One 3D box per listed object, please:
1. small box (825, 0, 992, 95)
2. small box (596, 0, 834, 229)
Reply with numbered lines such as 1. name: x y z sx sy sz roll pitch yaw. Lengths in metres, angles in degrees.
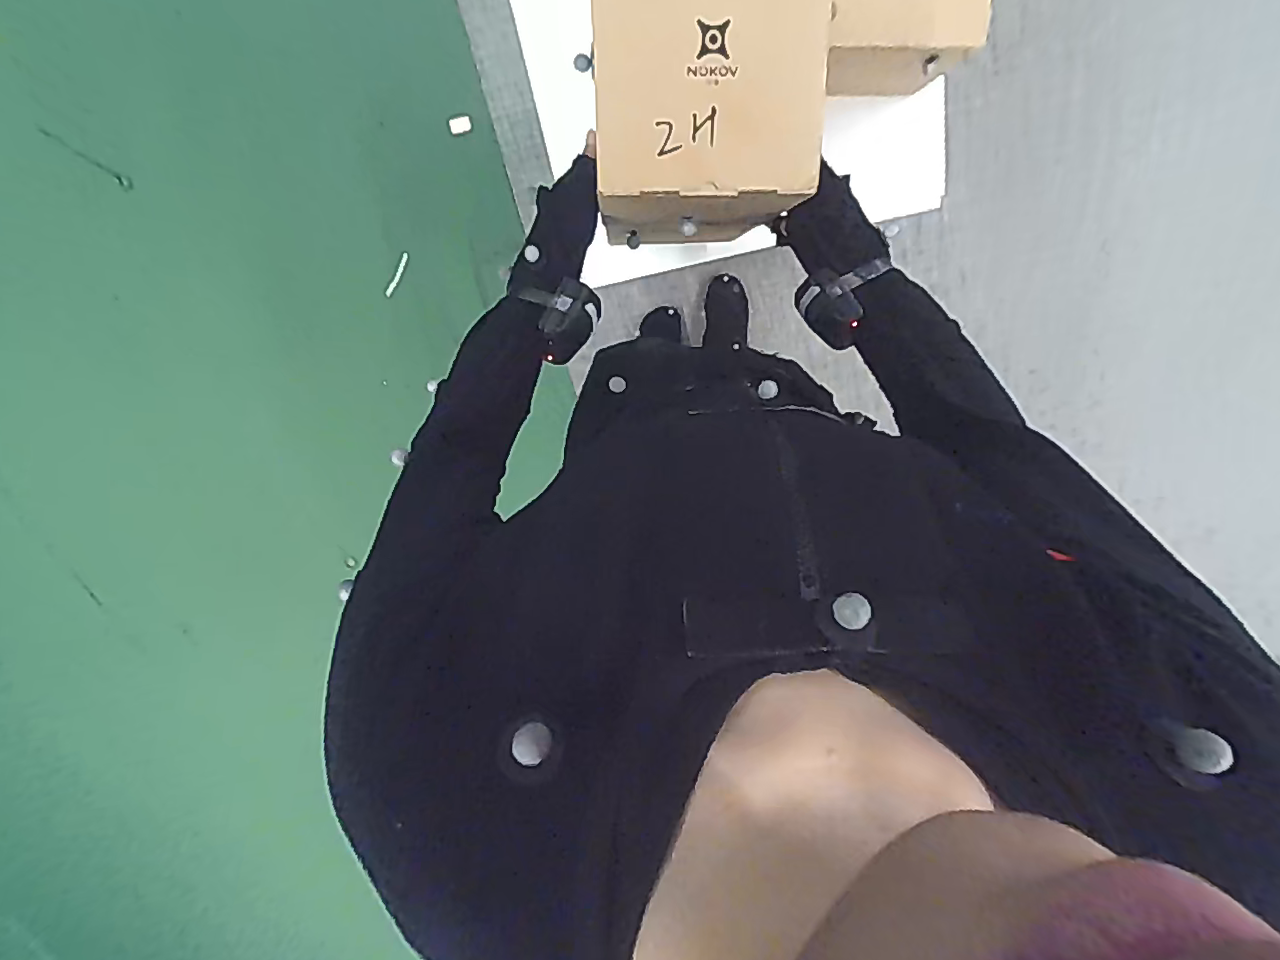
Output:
1. small box: 0.257 -0.536 0.583 0.179 0.176 0.168 1 111 2
2. small box: 0.047 -0.319 0.451 0.168 0.176 0.179 -1 107 -2
